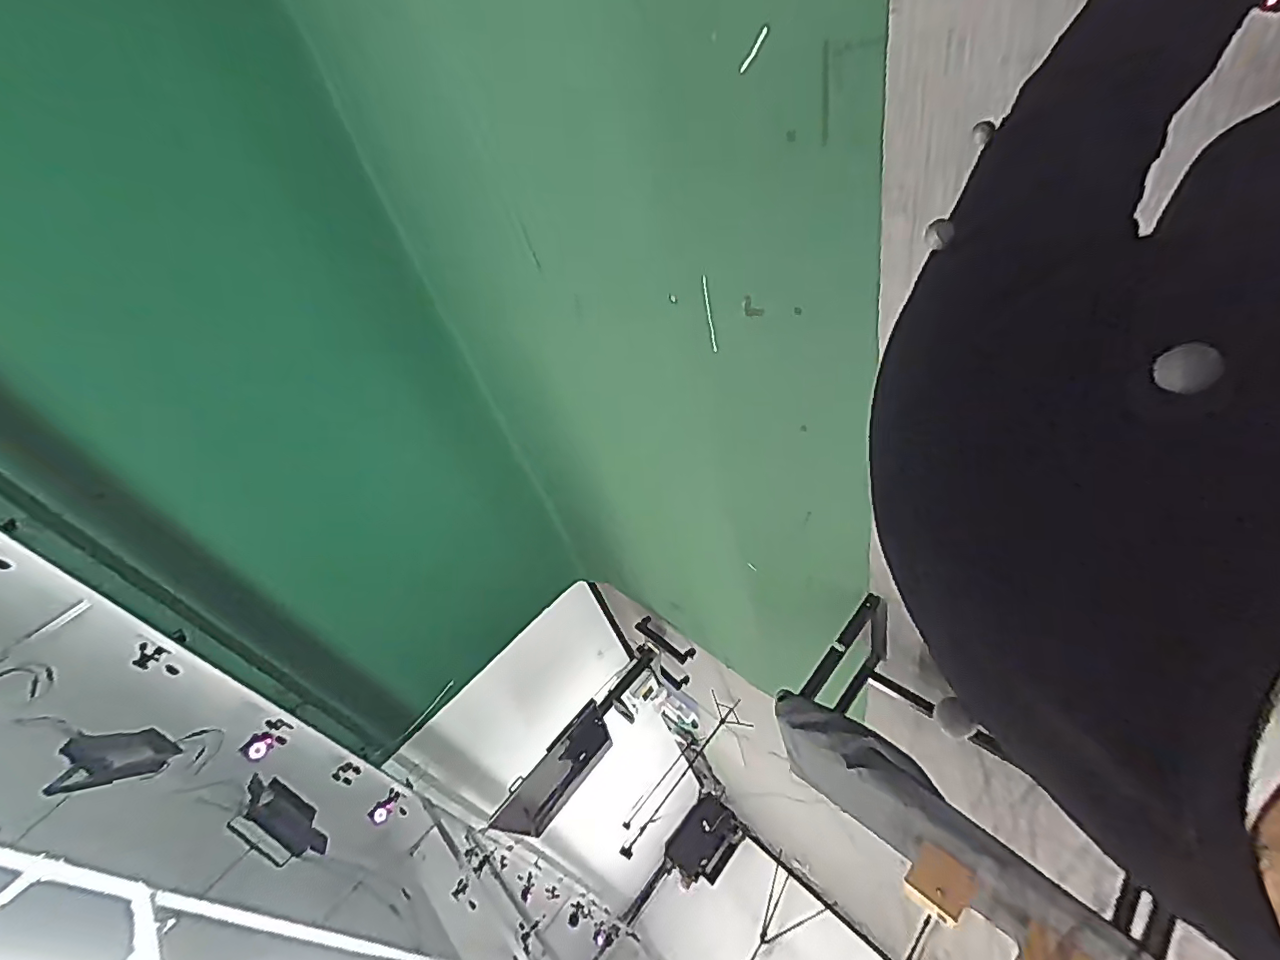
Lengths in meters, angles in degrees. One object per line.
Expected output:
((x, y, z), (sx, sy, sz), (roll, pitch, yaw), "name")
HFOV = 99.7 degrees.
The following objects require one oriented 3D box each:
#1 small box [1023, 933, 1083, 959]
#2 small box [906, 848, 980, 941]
((1.277, 1.535, 1.652), (0.179, 0.176, 0.168), (22, 146, 44), "small box")
((1.044, 1.425, 1.865), (0.179, 0.176, 0.168), (24, 147, 42), "small box")
